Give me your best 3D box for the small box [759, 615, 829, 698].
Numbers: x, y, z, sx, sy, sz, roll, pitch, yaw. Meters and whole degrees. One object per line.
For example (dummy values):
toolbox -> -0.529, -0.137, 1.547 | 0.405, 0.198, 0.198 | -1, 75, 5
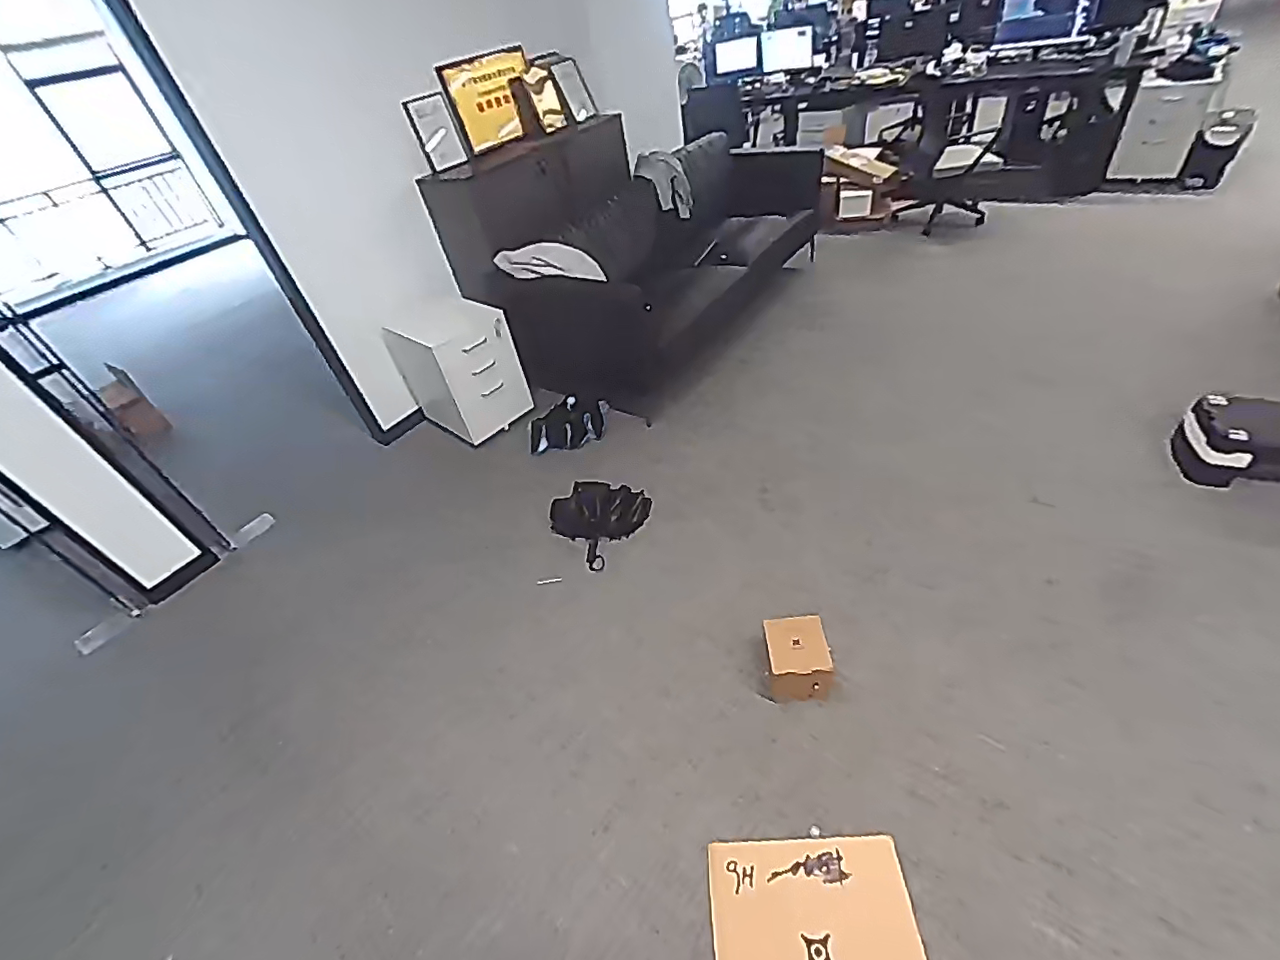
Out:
small box -> 0.451, 0.527, 1.597 | 0.168, 0.176, 0.179 | -7, 39, 5
